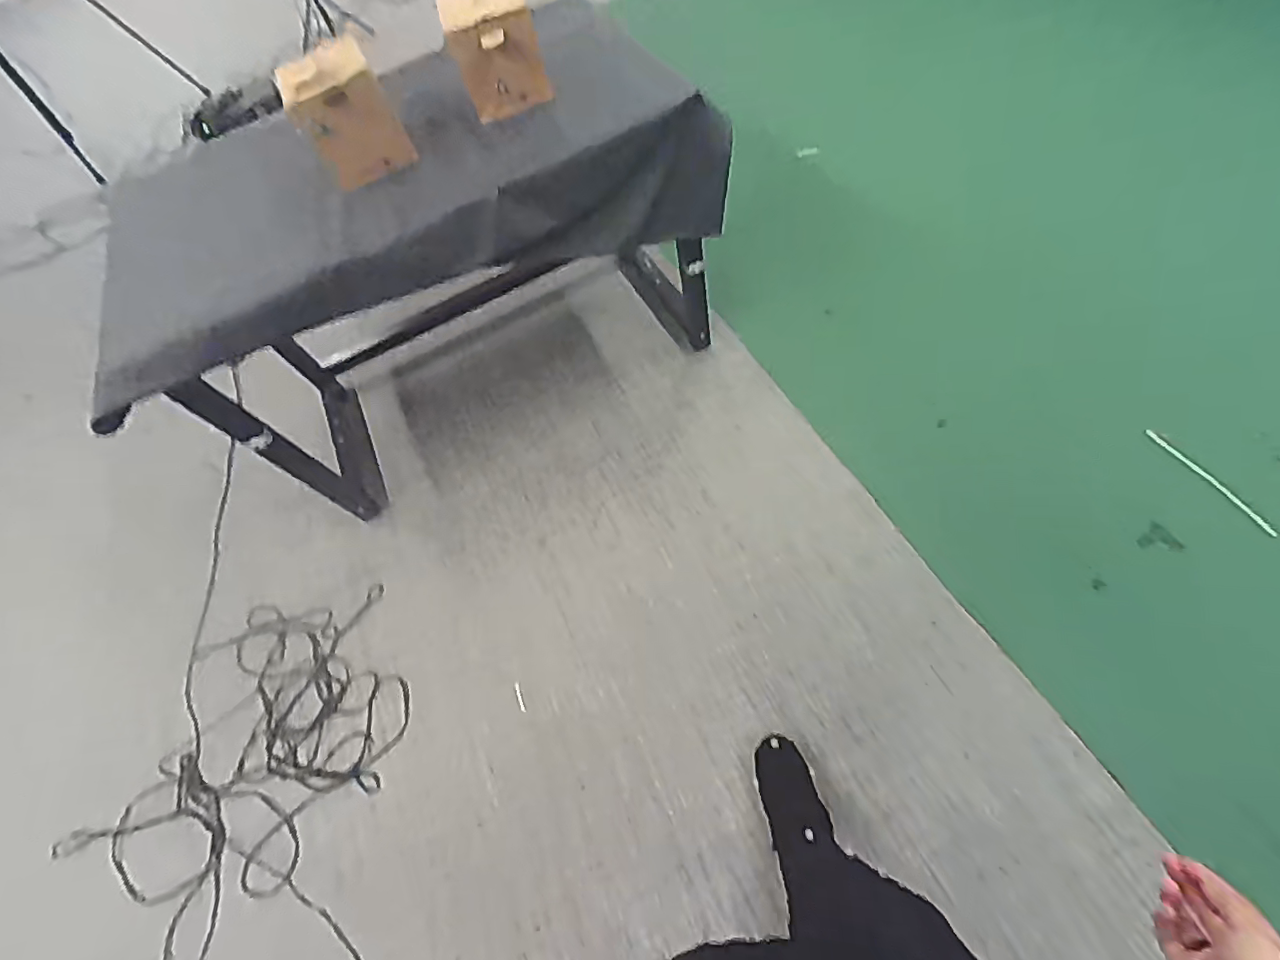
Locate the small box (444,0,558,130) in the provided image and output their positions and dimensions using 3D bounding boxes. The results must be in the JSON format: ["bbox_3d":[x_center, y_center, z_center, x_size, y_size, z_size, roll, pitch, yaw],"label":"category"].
[{"bbox_3d":[-0.282,-0.863,1.110,0.168,0.176,0.179,-19,60,1],"label":"small box"}]
